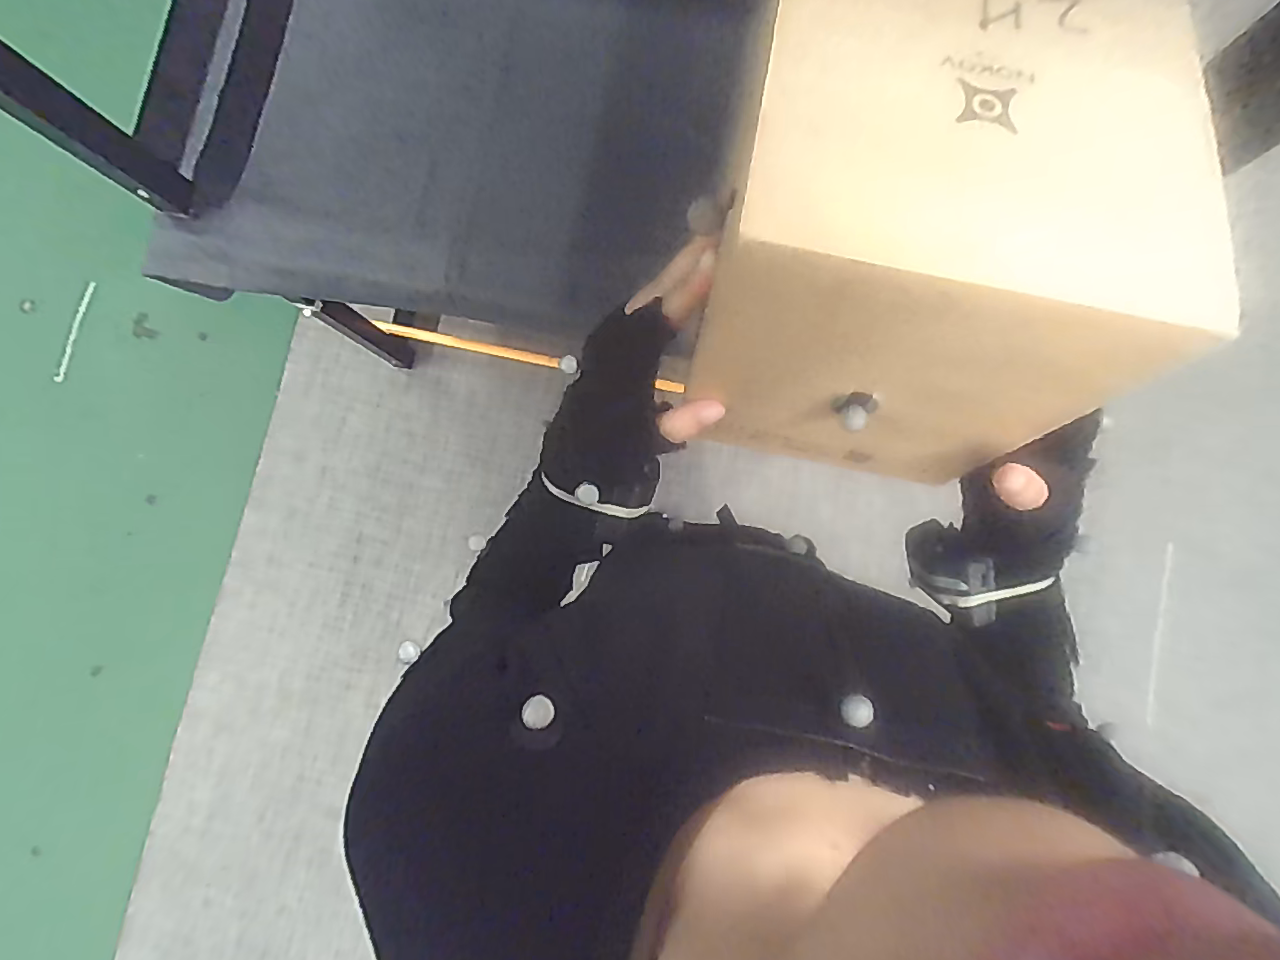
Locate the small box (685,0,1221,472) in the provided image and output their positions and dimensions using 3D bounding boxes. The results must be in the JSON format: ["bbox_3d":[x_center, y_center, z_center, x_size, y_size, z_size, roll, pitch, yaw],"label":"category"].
[{"bbox_3d":[0.123,-0.118,0.279,0.168,0.176,0.179,12,72,0],"label":"small box"}]
